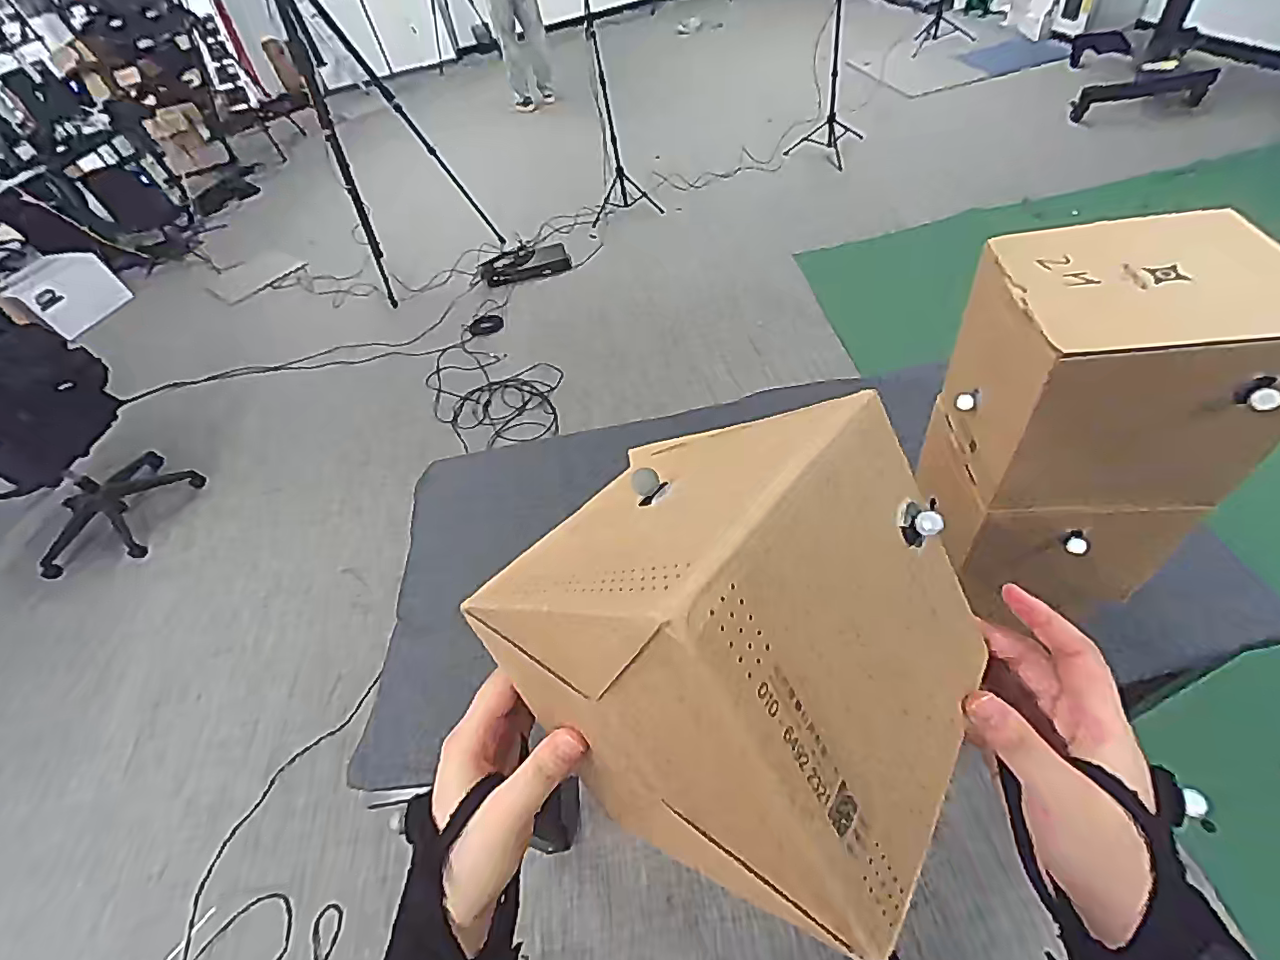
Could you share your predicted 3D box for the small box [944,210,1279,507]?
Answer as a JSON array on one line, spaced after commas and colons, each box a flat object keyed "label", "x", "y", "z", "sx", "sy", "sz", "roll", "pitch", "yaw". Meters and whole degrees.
[{"label": "small box", "x": 0.379, "y": -0.091, "z": 0.445, "sx": 0.179, "sy": 0.176, "sz": 0.168, "roll": -3, "pitch": 49, "yaw": 14}]

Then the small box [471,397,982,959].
[{"label": "small box", "x": 0.041, "y": 0.082, "z": 0.288, "sx": 0.179, "sy": 0.168, "sz": 0.176, "roll": -13, "pitch": 22, "yaw": 51}]

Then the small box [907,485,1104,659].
[{"label": "small box", "x": 0.437, "y": 0.112, "z": 0.695, "sx": 0.168, "sy": 0.176, "sz": 0.179, "roll": -12, "pitch": 48, "yaw": 5}]

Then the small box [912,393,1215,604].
[{"label": "small box", "x": 0.408, "y": 0.018, "z": 0.566, "sx": 0.179, "sy": 0.176, "sz": 0.168, "roll": -4, "pitch": 49, "yaw": 12}]
